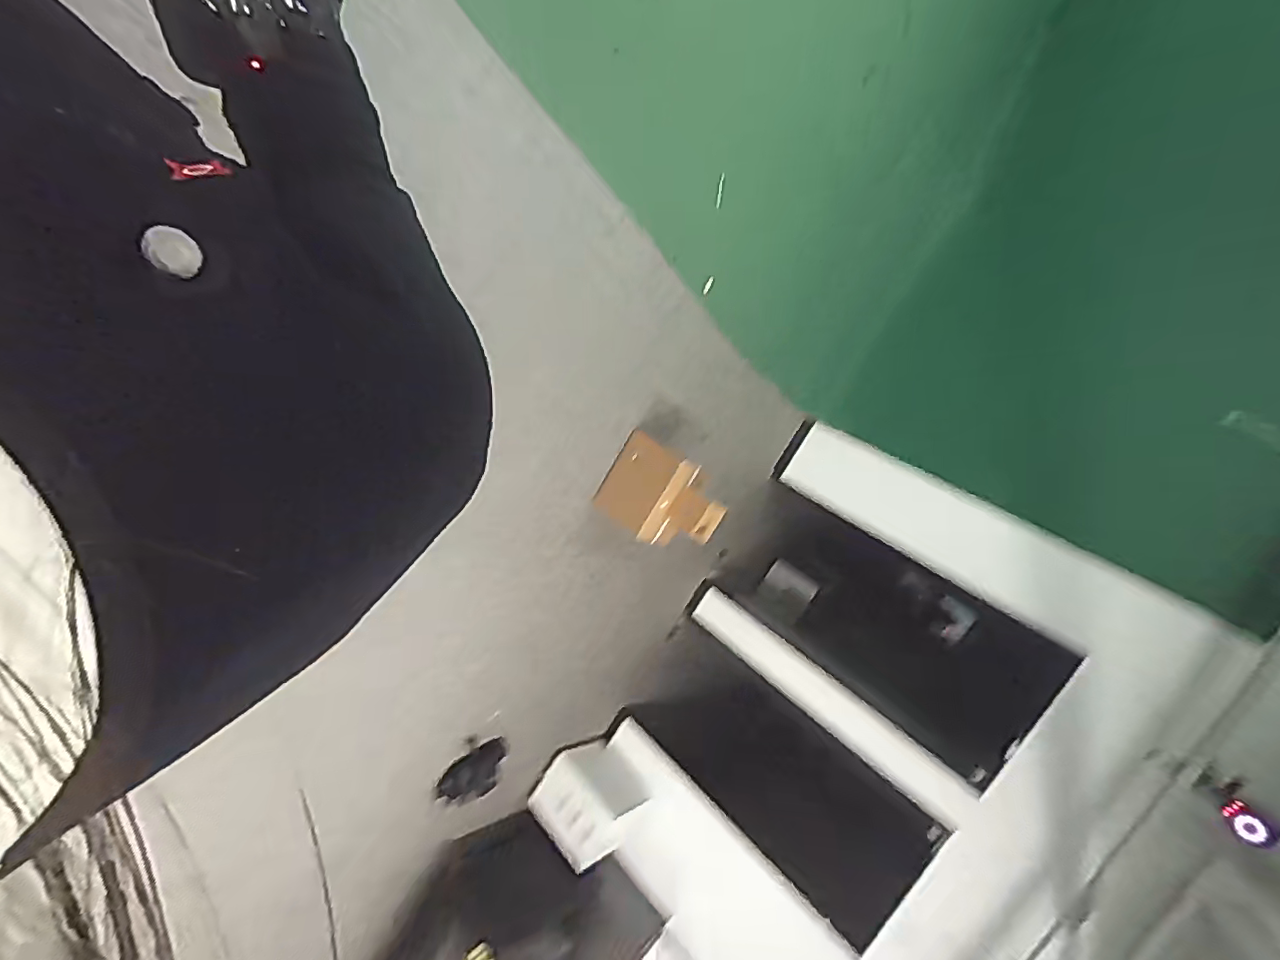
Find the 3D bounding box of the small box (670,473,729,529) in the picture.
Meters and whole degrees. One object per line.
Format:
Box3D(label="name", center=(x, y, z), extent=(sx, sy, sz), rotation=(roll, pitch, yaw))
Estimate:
Box3D(label="small box", center=(0.260, 0.094, 2.440), extent=(0.168, 0.176, 0.179), rotation=(22, 103, -52))
